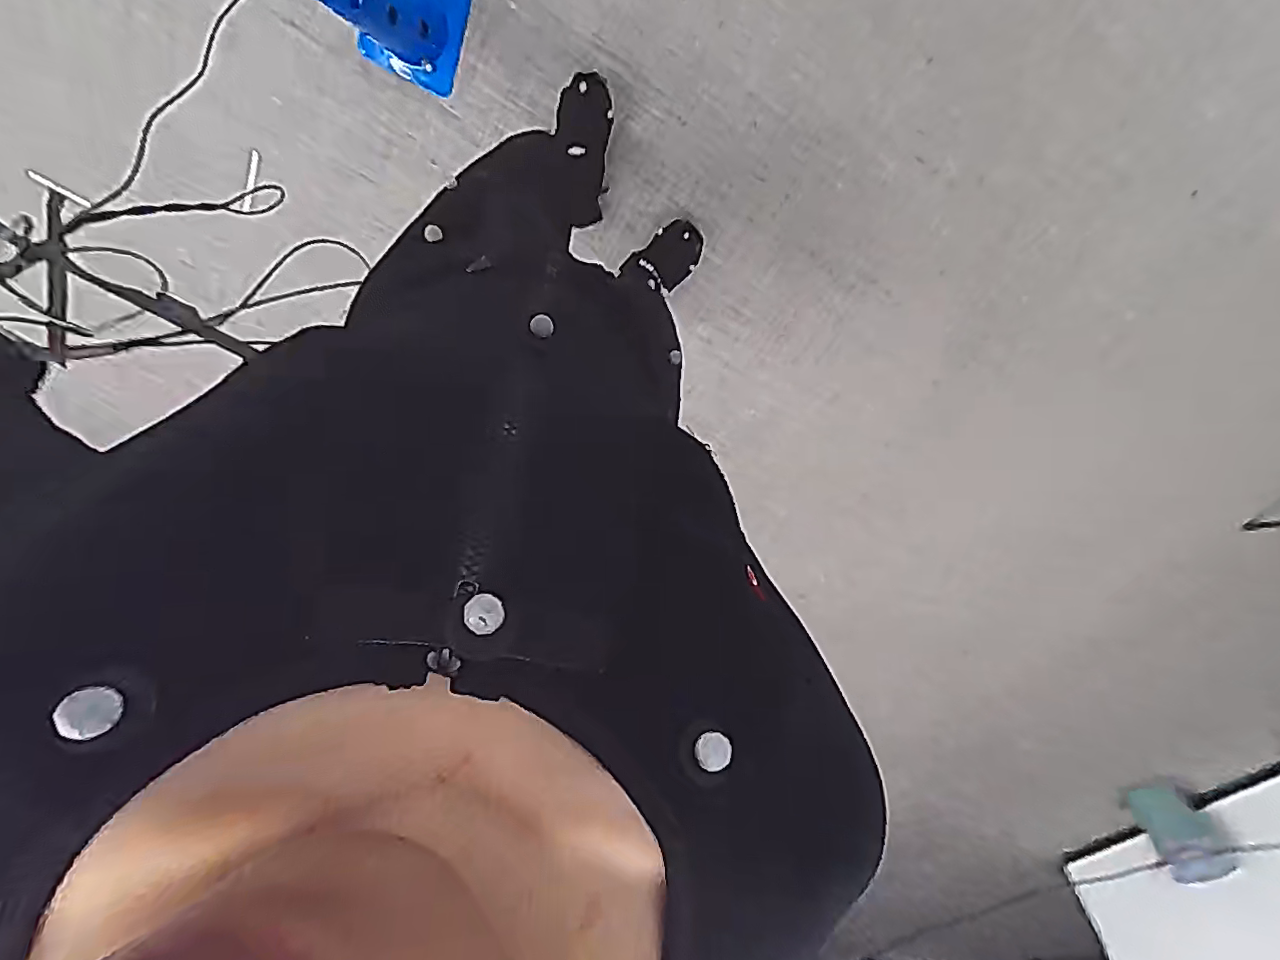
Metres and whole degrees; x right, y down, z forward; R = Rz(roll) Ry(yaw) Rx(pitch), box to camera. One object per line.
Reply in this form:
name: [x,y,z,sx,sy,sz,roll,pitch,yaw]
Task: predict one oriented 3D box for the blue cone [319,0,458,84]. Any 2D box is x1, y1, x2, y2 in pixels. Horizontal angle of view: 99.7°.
blue cone: [-0.477,-0.839,0.936,0.192,0.380,0.193,25,121,-10]
